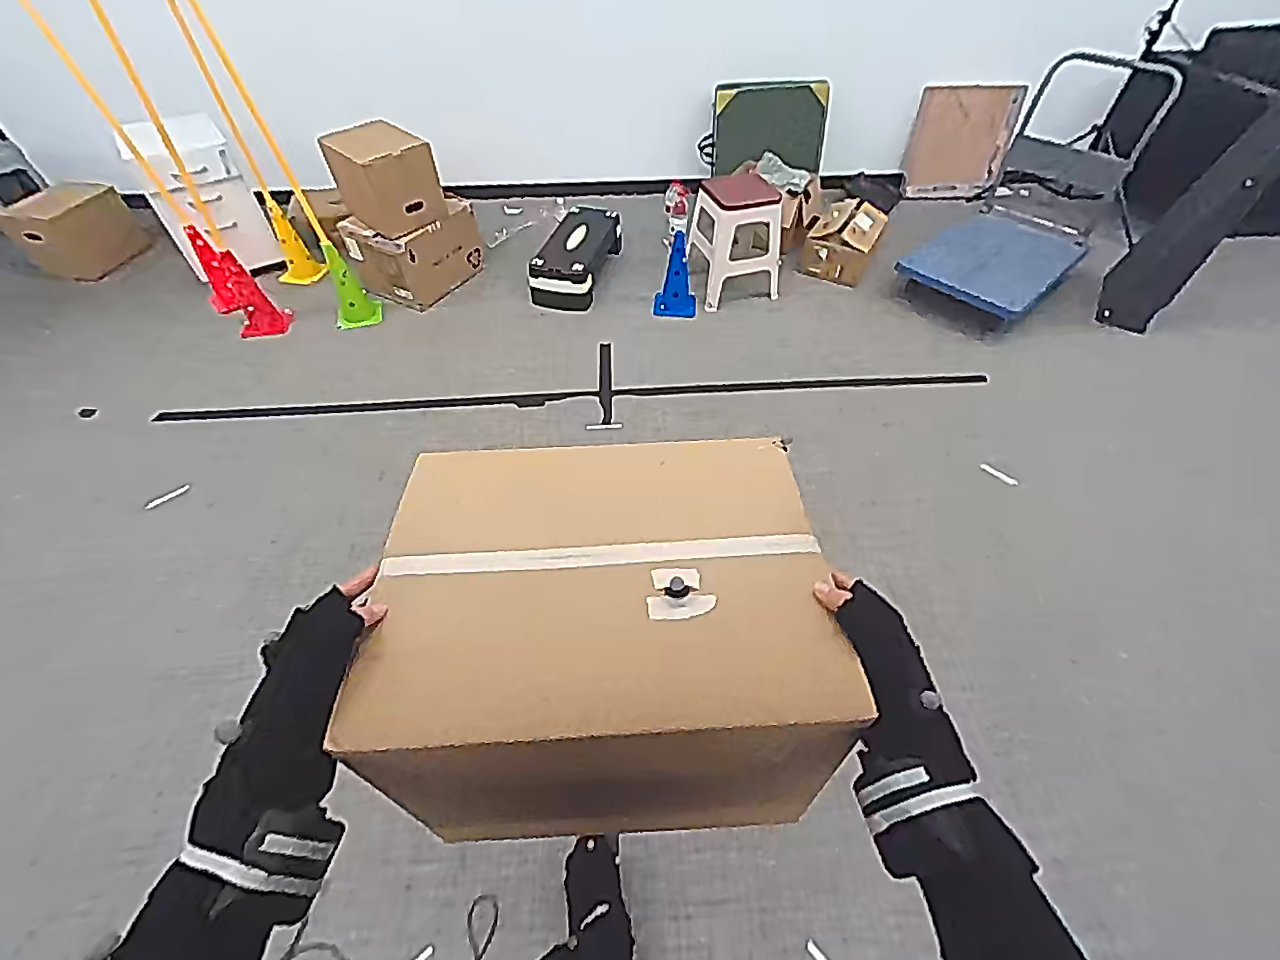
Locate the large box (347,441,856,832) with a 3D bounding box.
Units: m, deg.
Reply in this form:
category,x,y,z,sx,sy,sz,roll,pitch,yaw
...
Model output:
category,x,y,z,sx,sy,sz,roll,pitch,yaw
large box,-0.035,0.178,0.623,0.408,0.320,0.320,-3,46,-2
